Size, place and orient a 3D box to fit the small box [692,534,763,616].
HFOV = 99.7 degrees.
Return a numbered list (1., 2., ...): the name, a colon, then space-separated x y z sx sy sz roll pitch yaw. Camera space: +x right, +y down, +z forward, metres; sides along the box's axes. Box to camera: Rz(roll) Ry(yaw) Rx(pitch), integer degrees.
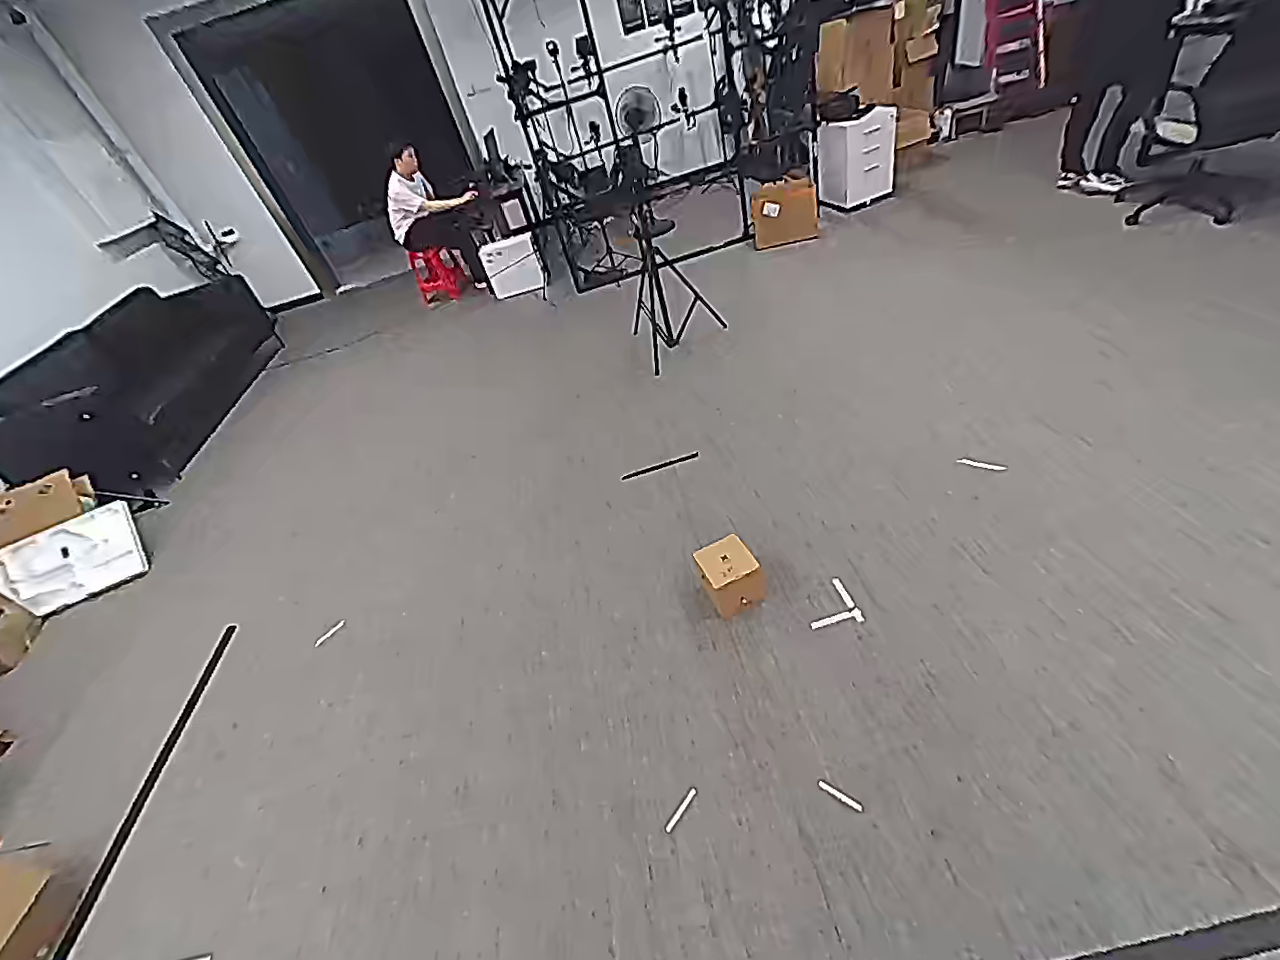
1. small box: 0.293 0.318 1.803 0.168 0.176 0.179 -25 40 -7
